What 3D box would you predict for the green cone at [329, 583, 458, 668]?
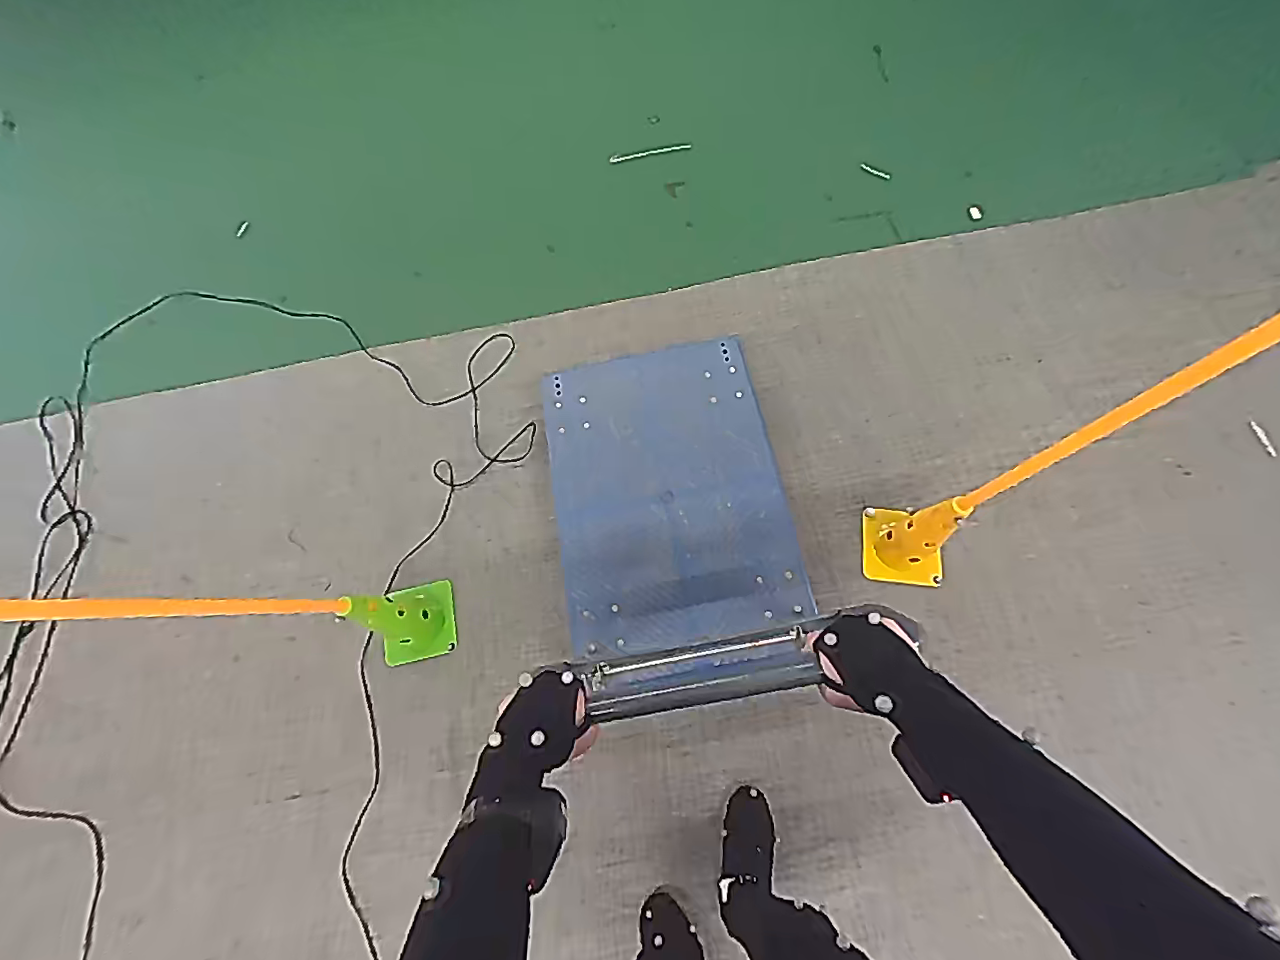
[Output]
[{"bbox_3d":[-0.628,0.339,1.336,0.202,0.368,0.200,-15,68,2],"label":"green cone"}]
